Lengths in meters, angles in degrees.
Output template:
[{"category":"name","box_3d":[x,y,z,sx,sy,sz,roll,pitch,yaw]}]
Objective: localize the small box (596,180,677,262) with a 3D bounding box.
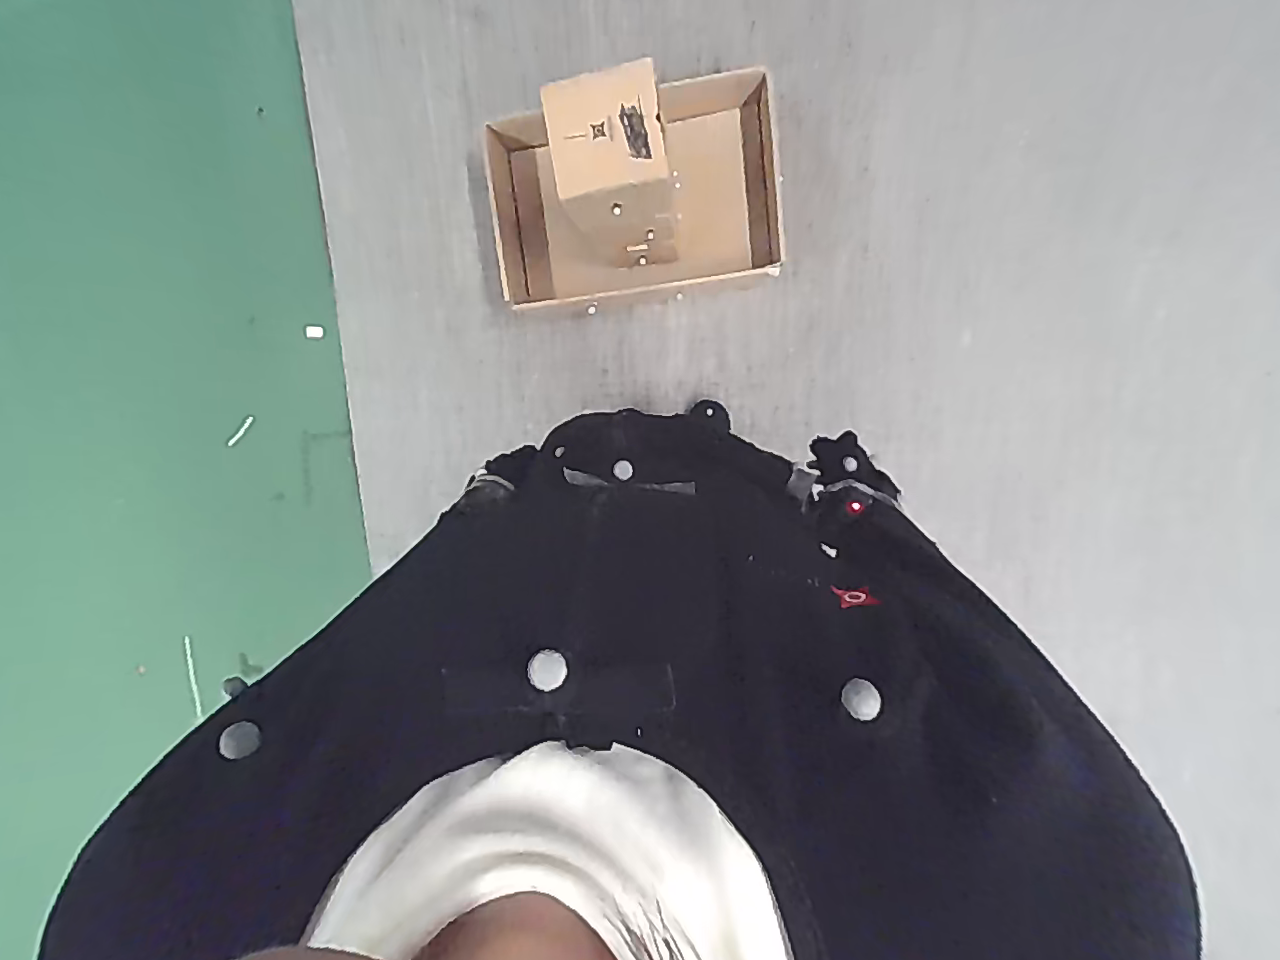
[{"category":"small box","box_3d":[-0.007,-0.597,1.211,0.168,0.176,0.179,-2,99,8]}]

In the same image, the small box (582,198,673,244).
[{"category":"small box","box_3d":[-0.027,-0.572,1.052,0.168,0.176,0.179,-4,98,7]}]

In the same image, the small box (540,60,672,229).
[{"category":"small box","box_3d":[-0.045,-0.537,0.893,0.179,0.176,0.168,-11,98,8]}]
